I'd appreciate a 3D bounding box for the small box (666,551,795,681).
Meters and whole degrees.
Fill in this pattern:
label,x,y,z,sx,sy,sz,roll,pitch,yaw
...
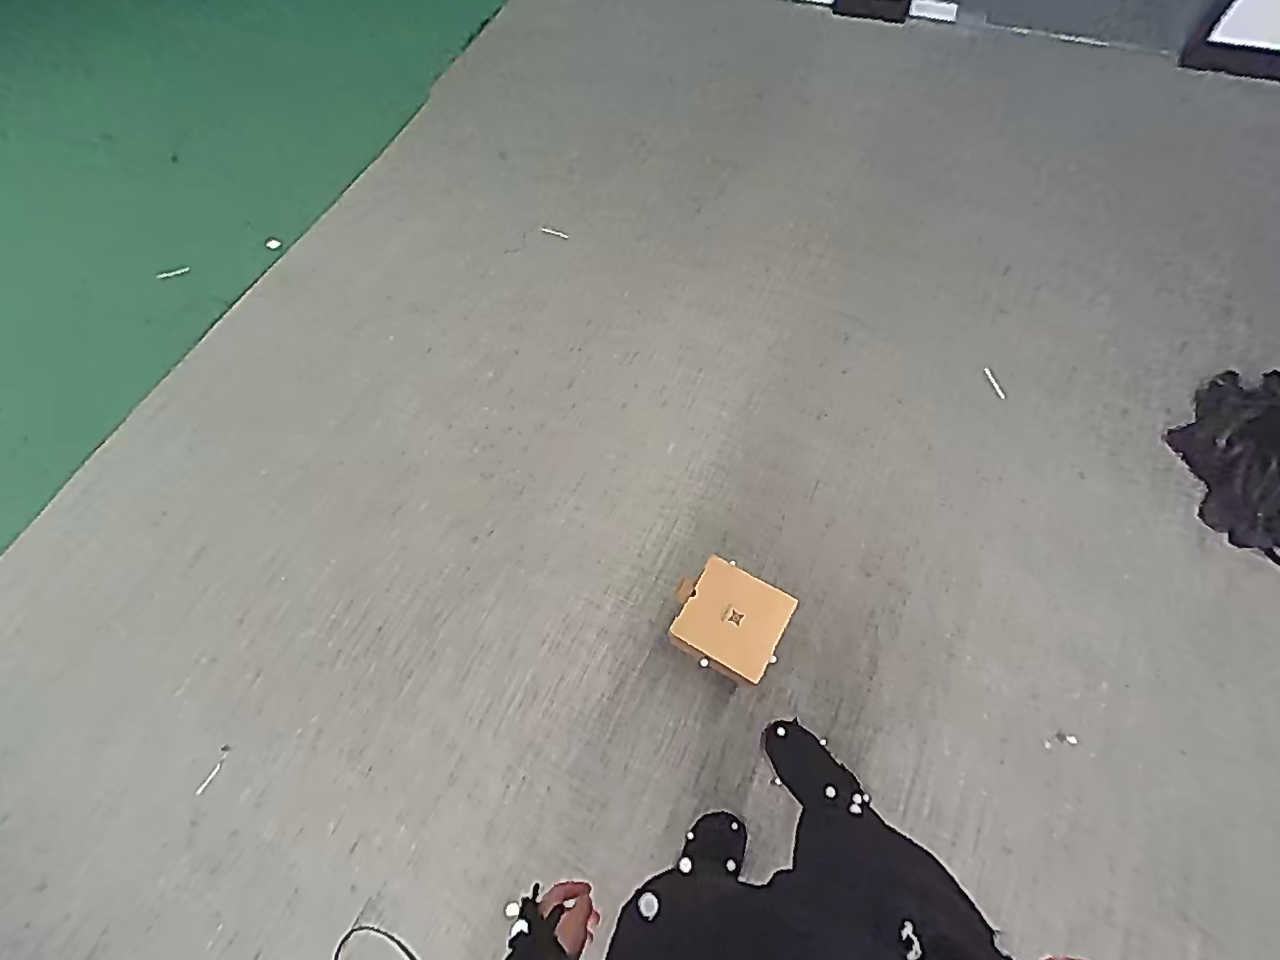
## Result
label,x,y,z,sx,sy,sz,roll,pitch,yaw
small box,0.169,0.263,1.030,0.179,0.176,0.168,27,73,16
